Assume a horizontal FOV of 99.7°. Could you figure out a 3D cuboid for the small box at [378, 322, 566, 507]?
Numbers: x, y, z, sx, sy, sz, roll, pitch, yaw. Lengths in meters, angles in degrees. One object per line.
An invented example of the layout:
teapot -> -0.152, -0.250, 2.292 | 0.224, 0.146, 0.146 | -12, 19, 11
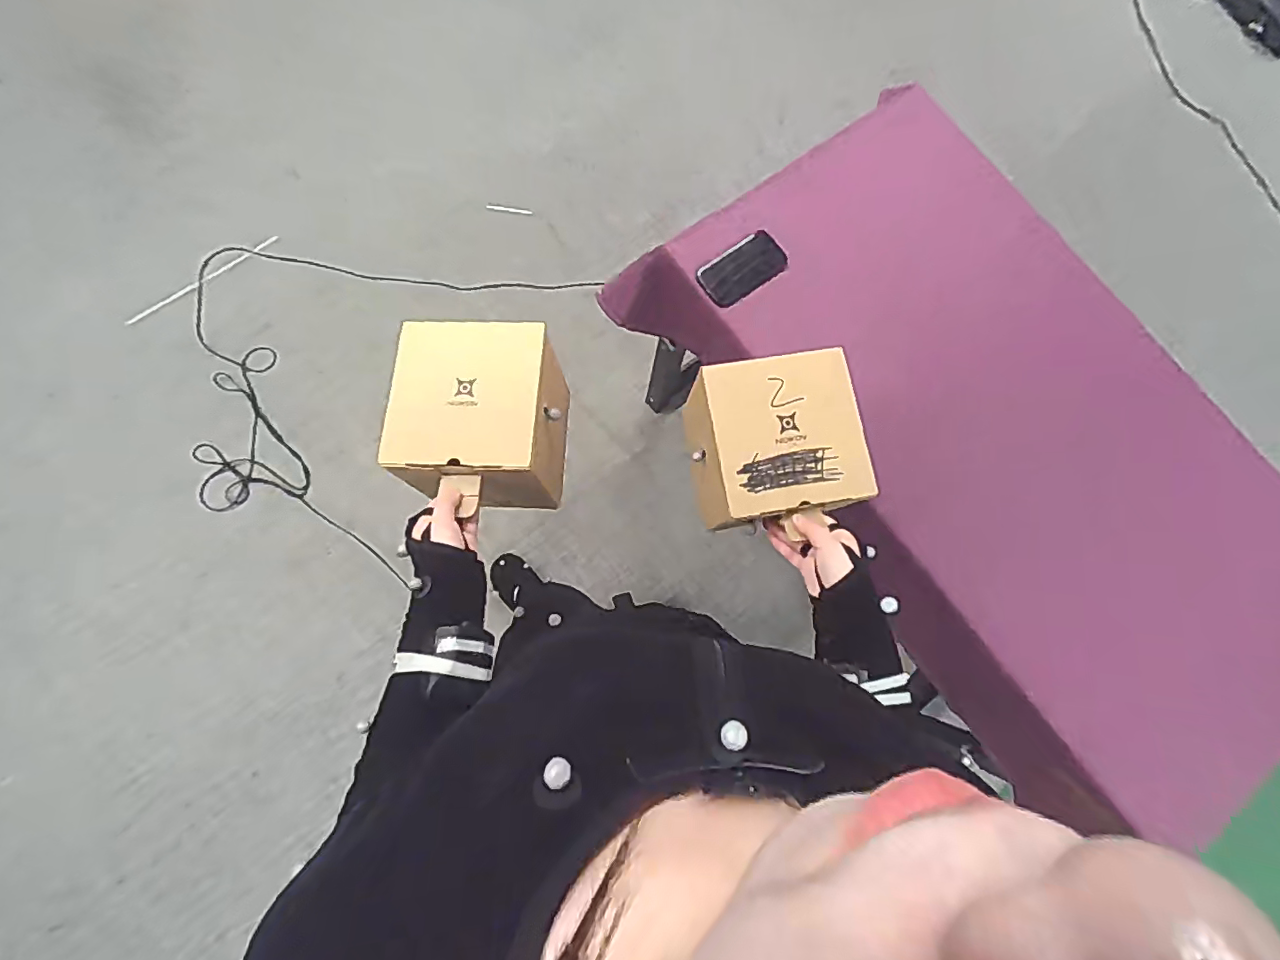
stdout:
small box -> -0.190, -0.073, 0.670 | 0.168, 0.176, 0.179 | 2, 74, 3
